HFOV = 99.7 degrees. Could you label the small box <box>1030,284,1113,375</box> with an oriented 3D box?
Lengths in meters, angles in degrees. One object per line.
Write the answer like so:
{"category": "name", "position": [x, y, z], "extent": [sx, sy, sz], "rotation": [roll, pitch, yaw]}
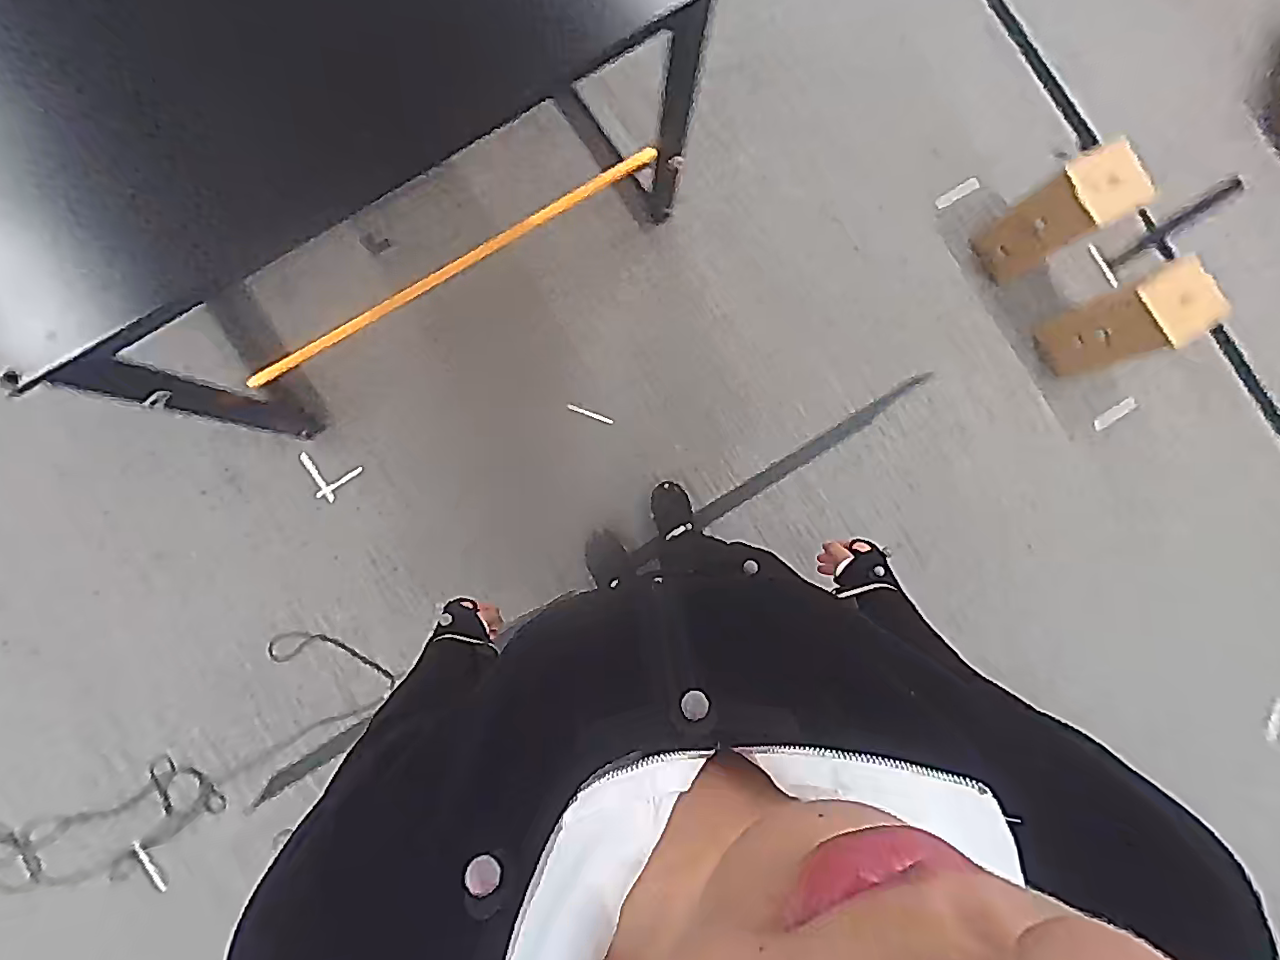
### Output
{"category": "small box", "position": [1.260, -0.420, 1.526], "extent": [0.168, 0.176, 0.179], "rotation": [-30, 91, -4]}

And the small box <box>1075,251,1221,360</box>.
{"category": "small box", "position": [1.268, -0.432, 1.364], "extent": [0.179, 0.176, 0.168], "rotation": [-35, 89, -3]}

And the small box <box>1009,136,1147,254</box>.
{"category": "small box", "position": [1.090, -0.708, 1.359], "extent": [0.179, 0.176, 0.168], "rotation": [-28, 89, -4]}

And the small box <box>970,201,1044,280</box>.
{"category": "small box", "position": [1.077, -0.700, 1.524], "extent": [0.179, 0.176, 0.168], "rotation": [-34, 90, -3]}
